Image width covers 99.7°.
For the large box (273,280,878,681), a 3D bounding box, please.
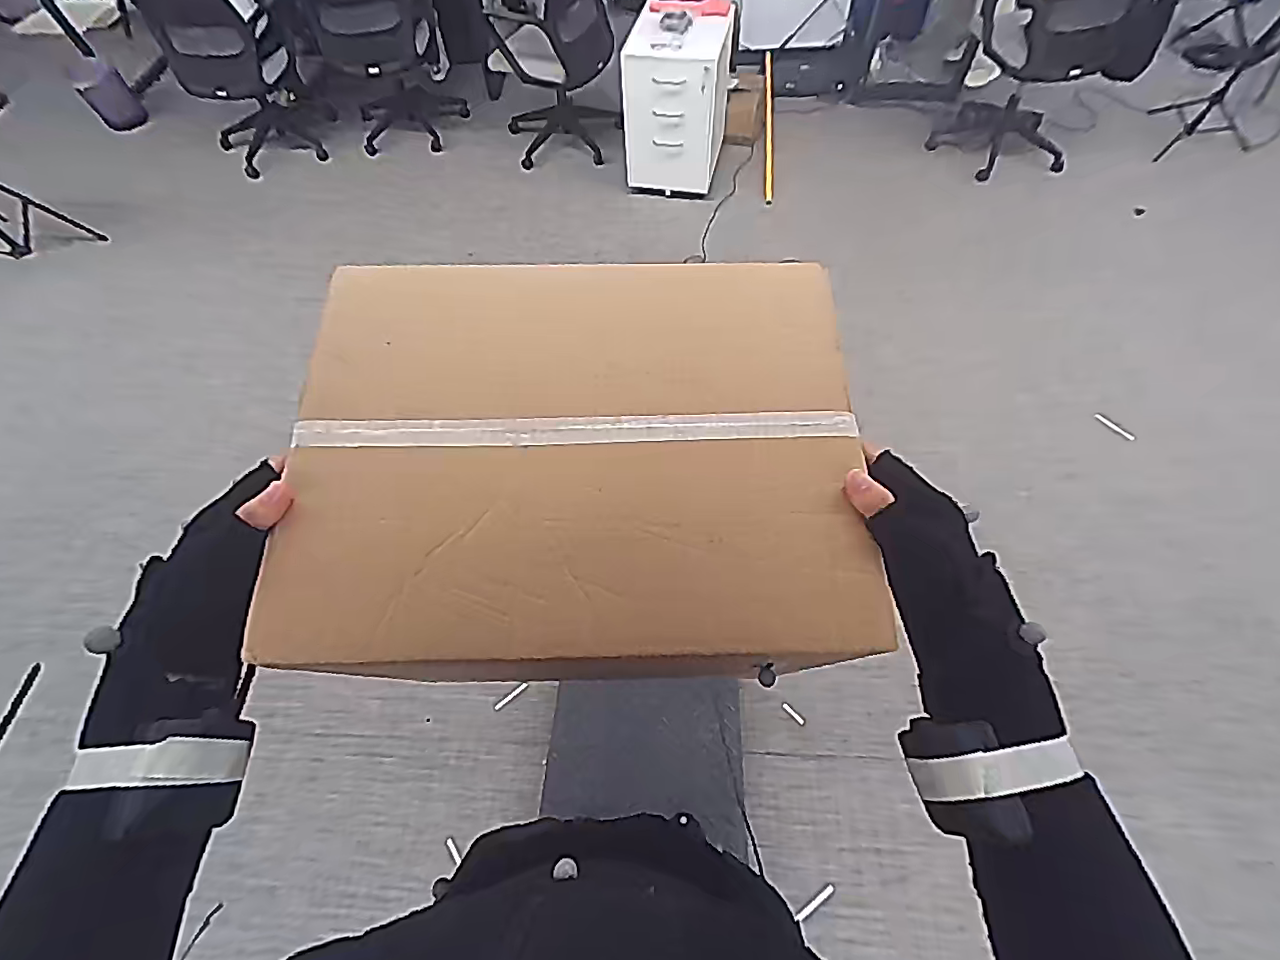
[{"bbox_3d":[-0.044,0.031,0.543,0.408,0.320,0.320,-1,67,-1],"label":"large box"}]
